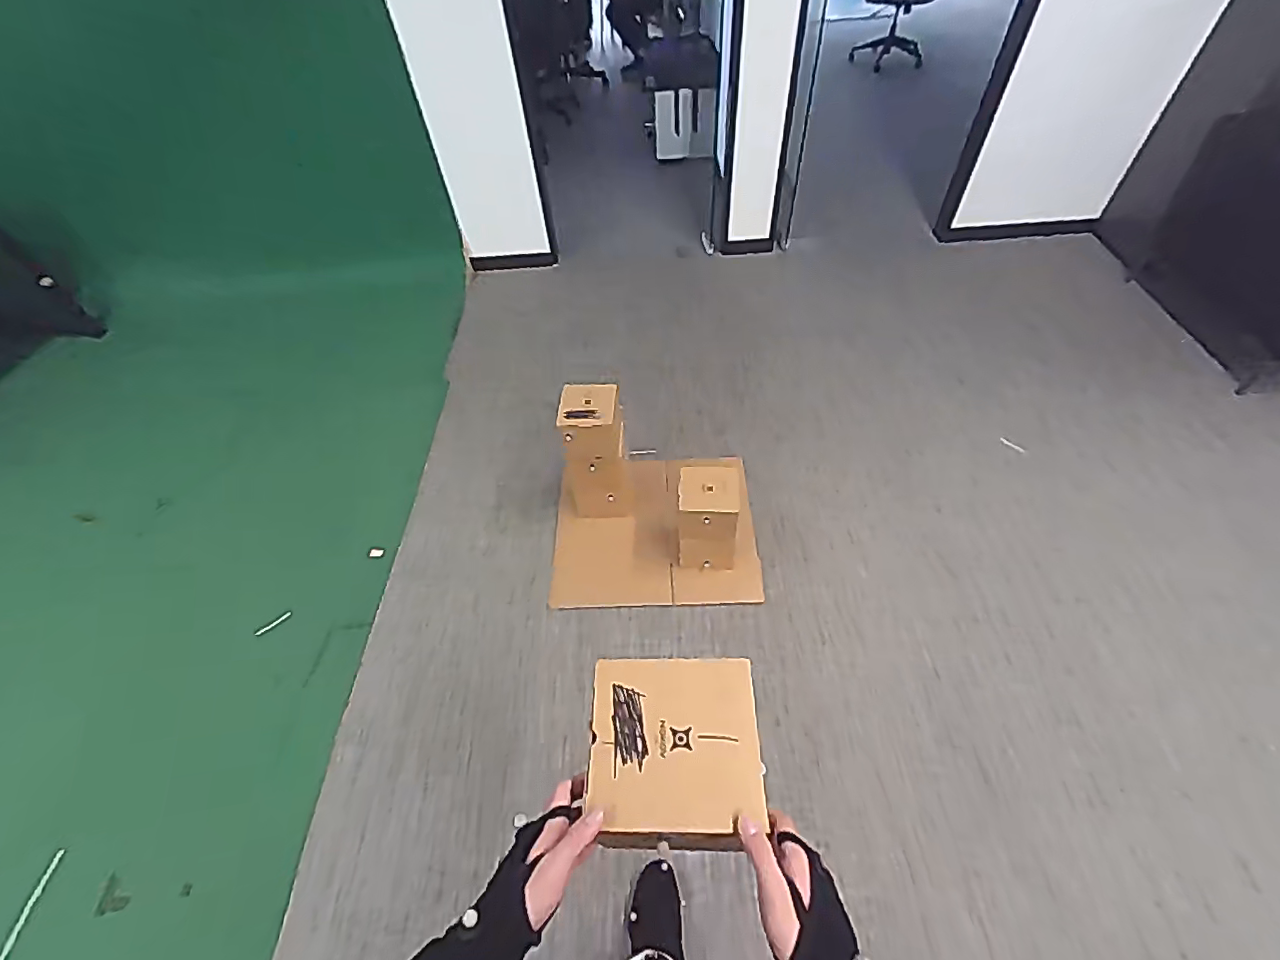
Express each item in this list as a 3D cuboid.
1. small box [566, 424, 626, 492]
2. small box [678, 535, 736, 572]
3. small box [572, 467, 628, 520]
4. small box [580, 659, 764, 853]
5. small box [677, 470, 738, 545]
[{"bbox_3d":[-0.138,-0.071,1.797,0.179,0.176,0.168,-1,52,4],"label":"small box"},{"bbox_3d":[0.215,0.191,1.775,0.179,0.176,0.168,0,51,4],"label":"small box"},{"bbox_3d":[-0.136,0.029,1.923,0.179,0.176,0.168,-1,51,3],"label":"small box"},{"bbox_3d":[0.038,0.316,0.614,0.179,0.176,0.168,-1,51,4],"label":"small box"},{"bbox_3d":[0.205,0.087,1.649,0.179,0.176,0.168,2,52,6],"label":"small box"}]
